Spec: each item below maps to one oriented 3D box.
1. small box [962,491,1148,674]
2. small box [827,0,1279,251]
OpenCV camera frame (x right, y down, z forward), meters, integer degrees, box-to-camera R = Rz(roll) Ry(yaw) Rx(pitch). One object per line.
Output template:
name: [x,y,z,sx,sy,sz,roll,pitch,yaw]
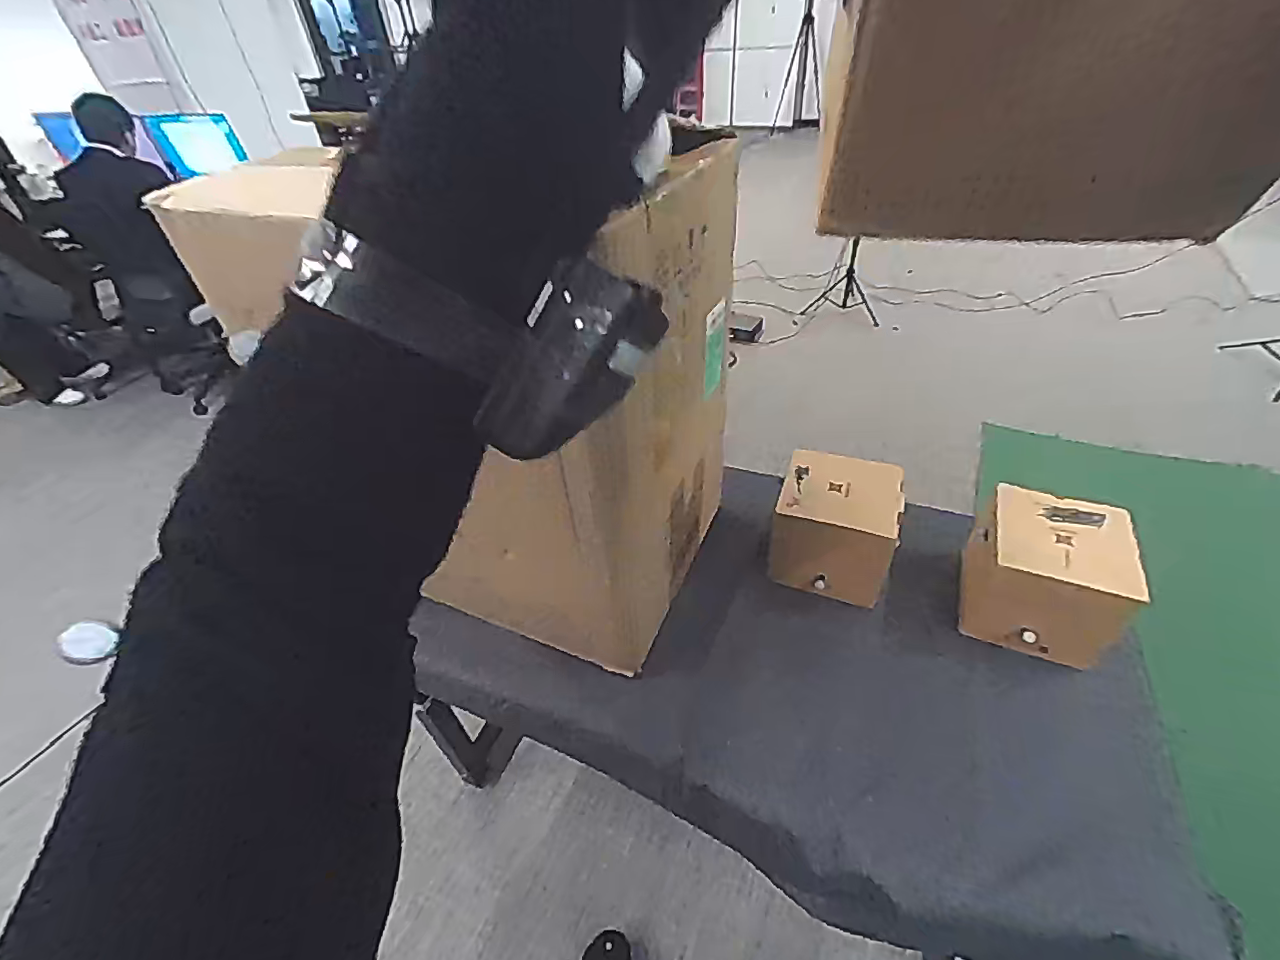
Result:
small box: [0.596,0.149,0.802,0.168,0.176,0.179,15,45,22]
small box: [0.186,-0.223,0.236,0.179,0.176,0.168,7,61,10]
